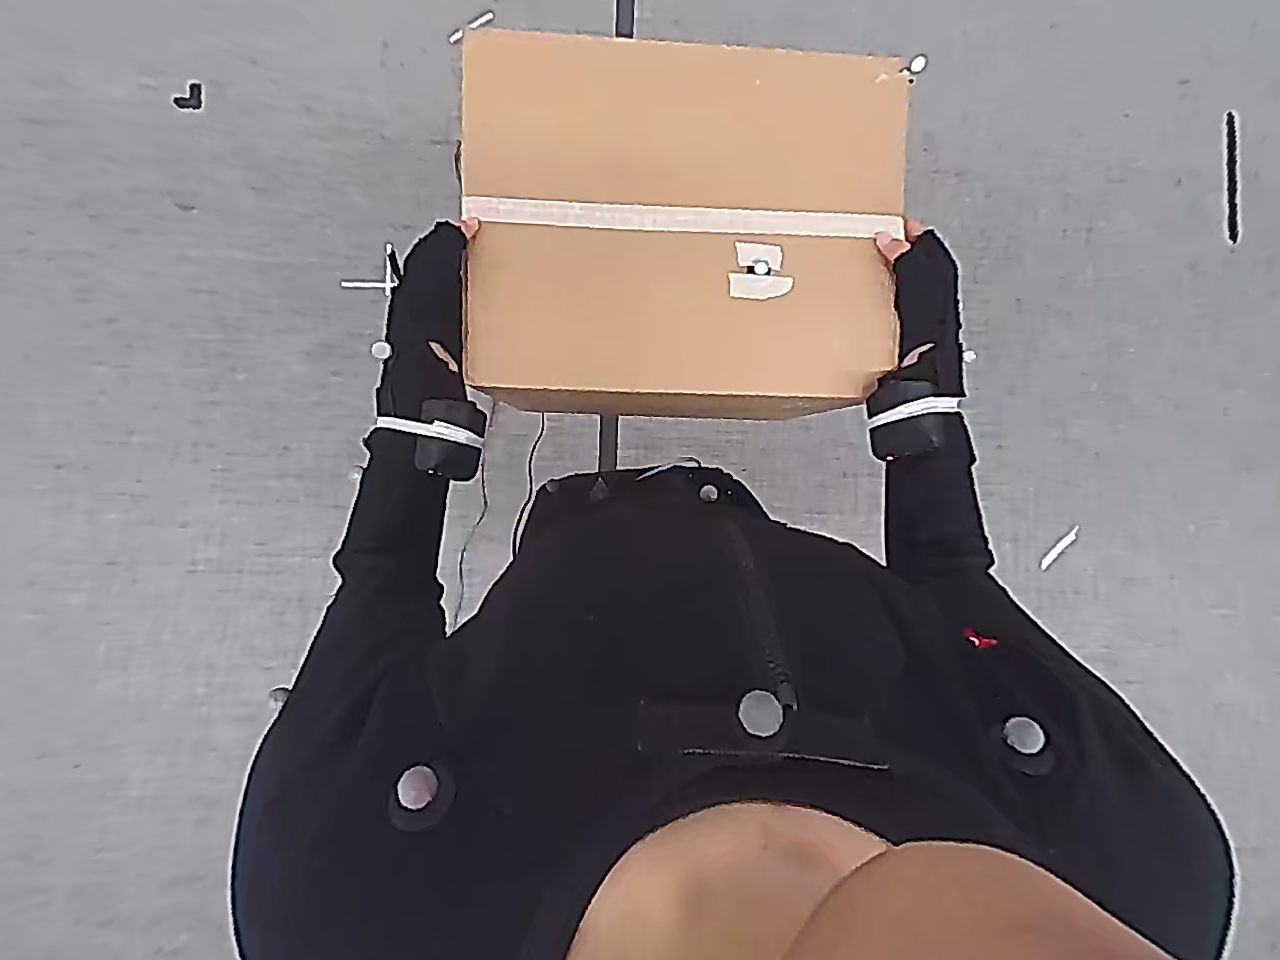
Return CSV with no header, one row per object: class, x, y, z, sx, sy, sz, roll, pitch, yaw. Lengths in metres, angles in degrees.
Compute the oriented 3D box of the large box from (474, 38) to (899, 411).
large box,0.034,-0.252,0.656,0.408,0.320,0.320,2,94,-4
